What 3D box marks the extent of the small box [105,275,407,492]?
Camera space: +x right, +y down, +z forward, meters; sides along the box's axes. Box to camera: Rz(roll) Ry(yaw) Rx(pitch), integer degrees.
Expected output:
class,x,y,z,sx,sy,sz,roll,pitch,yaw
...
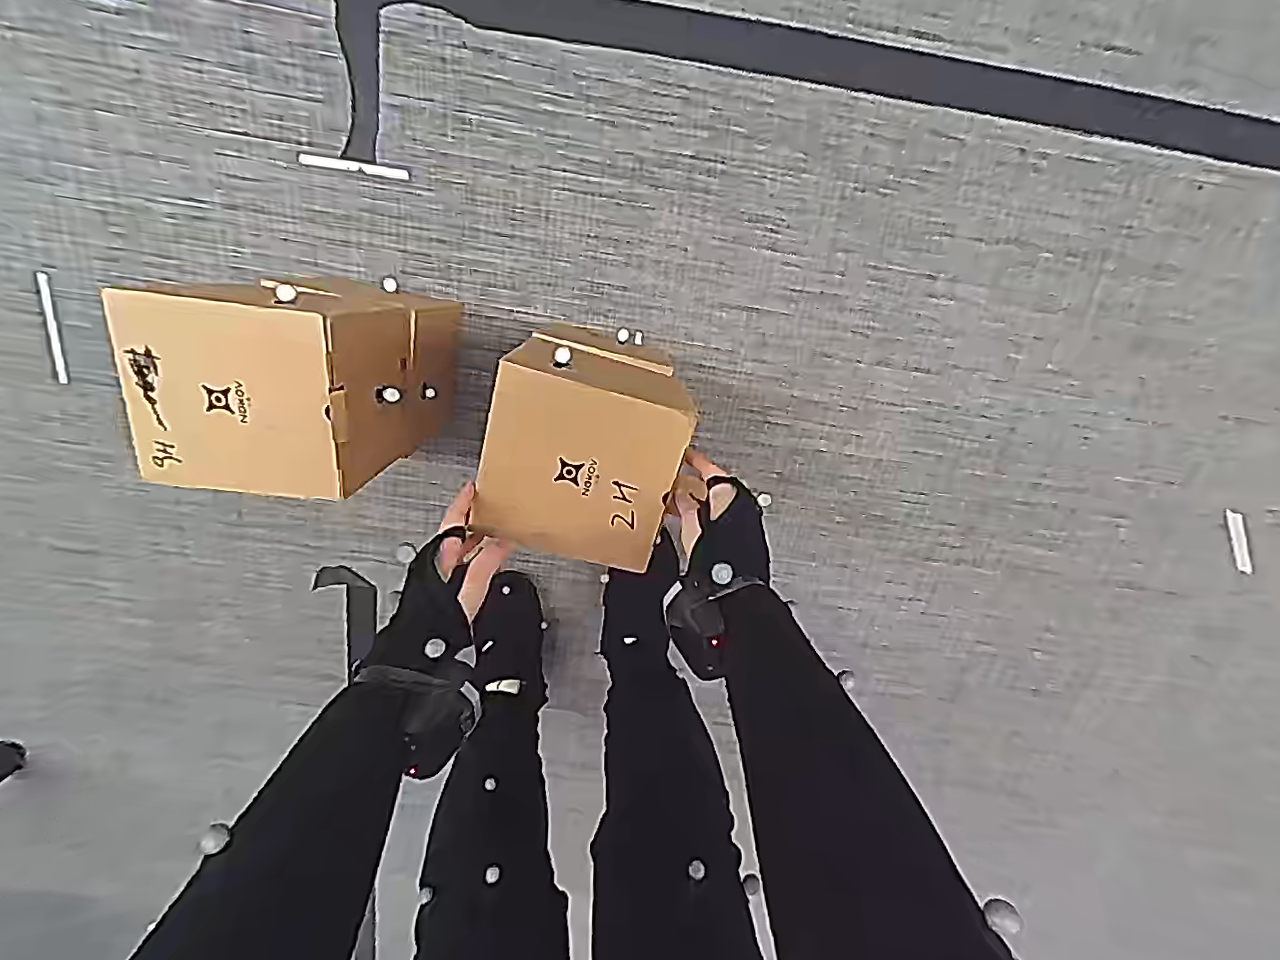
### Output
class,x,y,z,sx,sy,sz,roll,pitch,yaw
small box,-0.339,-0.102,0.524,0.179,0.176,0.168,6,110,-4

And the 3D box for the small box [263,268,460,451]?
class,x,y,z,sx,sy,sz,roll,pitch,yaw
small box,-0.336,-0.156,0.679,0.168,0.176,0.179,11,110,-5

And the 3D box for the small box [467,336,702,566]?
class,x,y,z,sx,sy,sz,roll,pitch,yaw
small box,-0.054,-0.041,0.553,0.179,0.176,0.168,15,111,-7

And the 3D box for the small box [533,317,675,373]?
class,x,y,z,sx,sy,sz,roll,pitch,yaw
small box,-0.060,-0.102,0.706,0.168,0.176,0.179,14,110,-7
